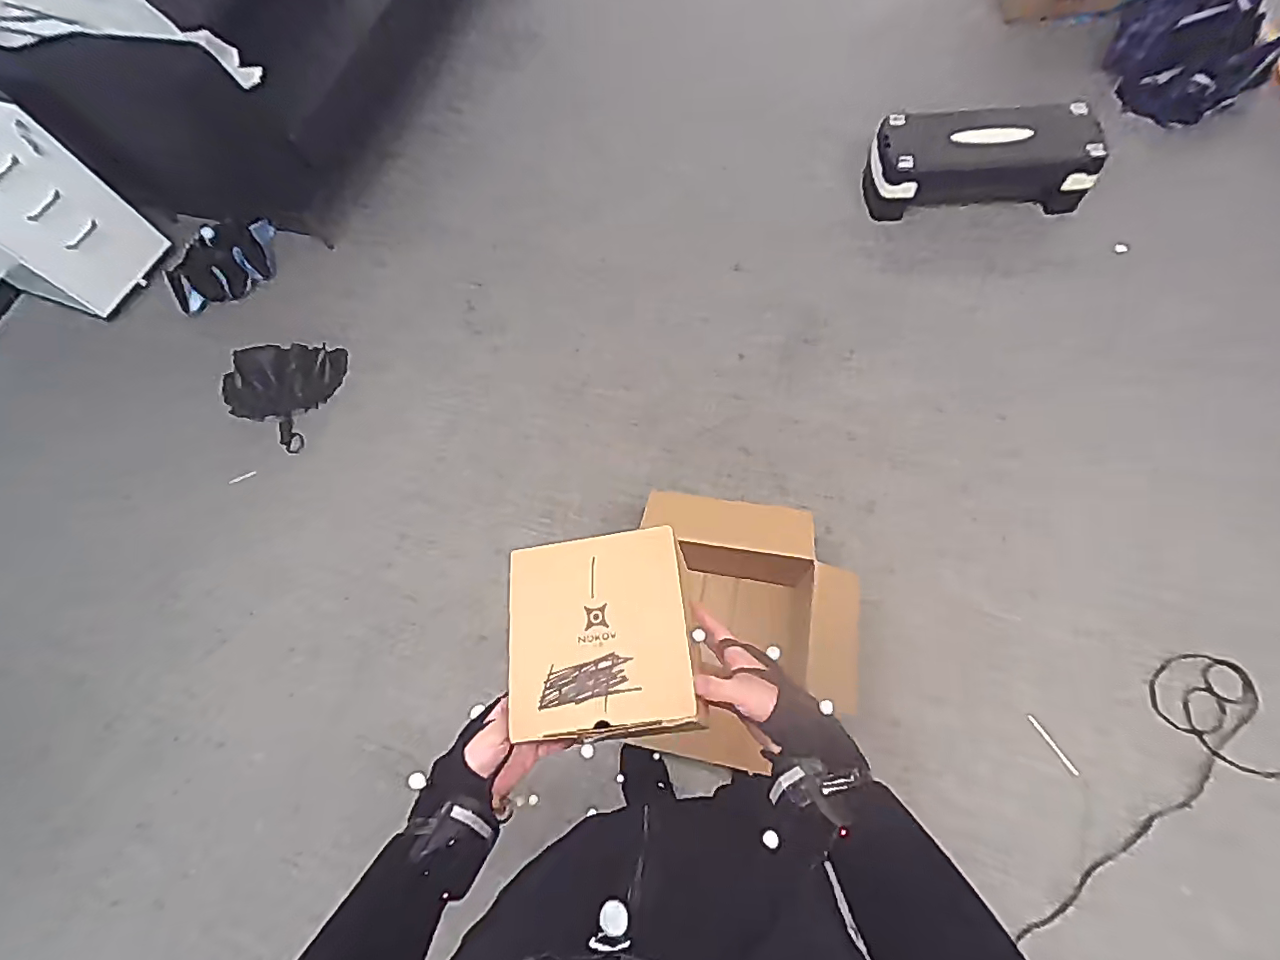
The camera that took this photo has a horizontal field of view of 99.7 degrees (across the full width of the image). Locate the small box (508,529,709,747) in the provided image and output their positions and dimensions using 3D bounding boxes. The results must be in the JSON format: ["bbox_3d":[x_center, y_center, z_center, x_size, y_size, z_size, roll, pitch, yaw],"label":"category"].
[{"bbox_3d":[-0.025,0.171,0.558,0.168,0.176,0.179,-10,61,6],"label":"small box"}]
